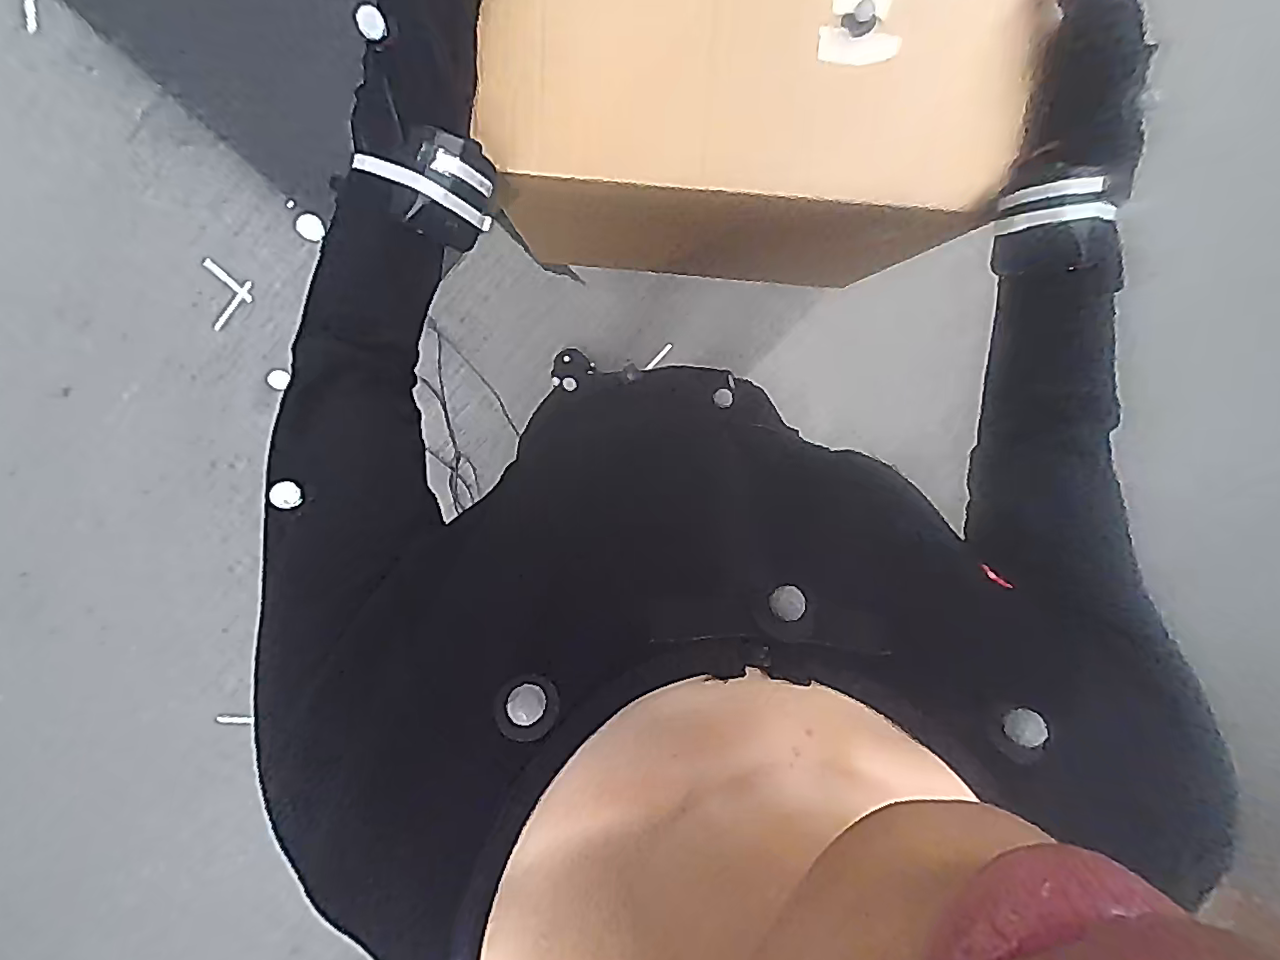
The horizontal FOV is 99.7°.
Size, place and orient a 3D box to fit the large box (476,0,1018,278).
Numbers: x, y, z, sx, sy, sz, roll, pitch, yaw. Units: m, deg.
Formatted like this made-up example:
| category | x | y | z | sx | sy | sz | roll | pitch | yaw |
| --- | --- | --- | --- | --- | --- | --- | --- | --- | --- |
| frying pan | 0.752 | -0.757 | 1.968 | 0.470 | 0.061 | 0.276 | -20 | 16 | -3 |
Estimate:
| category | x | y | z | sx | sy | sz | roll | pitch | yaw |
| --- | --- | --- | --- | --- | --- | --- | --- | --- | --- |
| large box | 0.074 | -0.398 | 0.535 | 0.408 | 0.320 | 0.320 | 2 | 100 | -3 |

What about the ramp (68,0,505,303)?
| category | x | y | z | sx | sy | sz | roll | pitch | yaw |
| --- | --- | --- | --- | --- | --- | --- | --- | --- | --- |
| ramp | -0.748 | -0.934 | 1.200 | 0.991 | 0.206 | 0.509 | 41 | 97 | -9 |
